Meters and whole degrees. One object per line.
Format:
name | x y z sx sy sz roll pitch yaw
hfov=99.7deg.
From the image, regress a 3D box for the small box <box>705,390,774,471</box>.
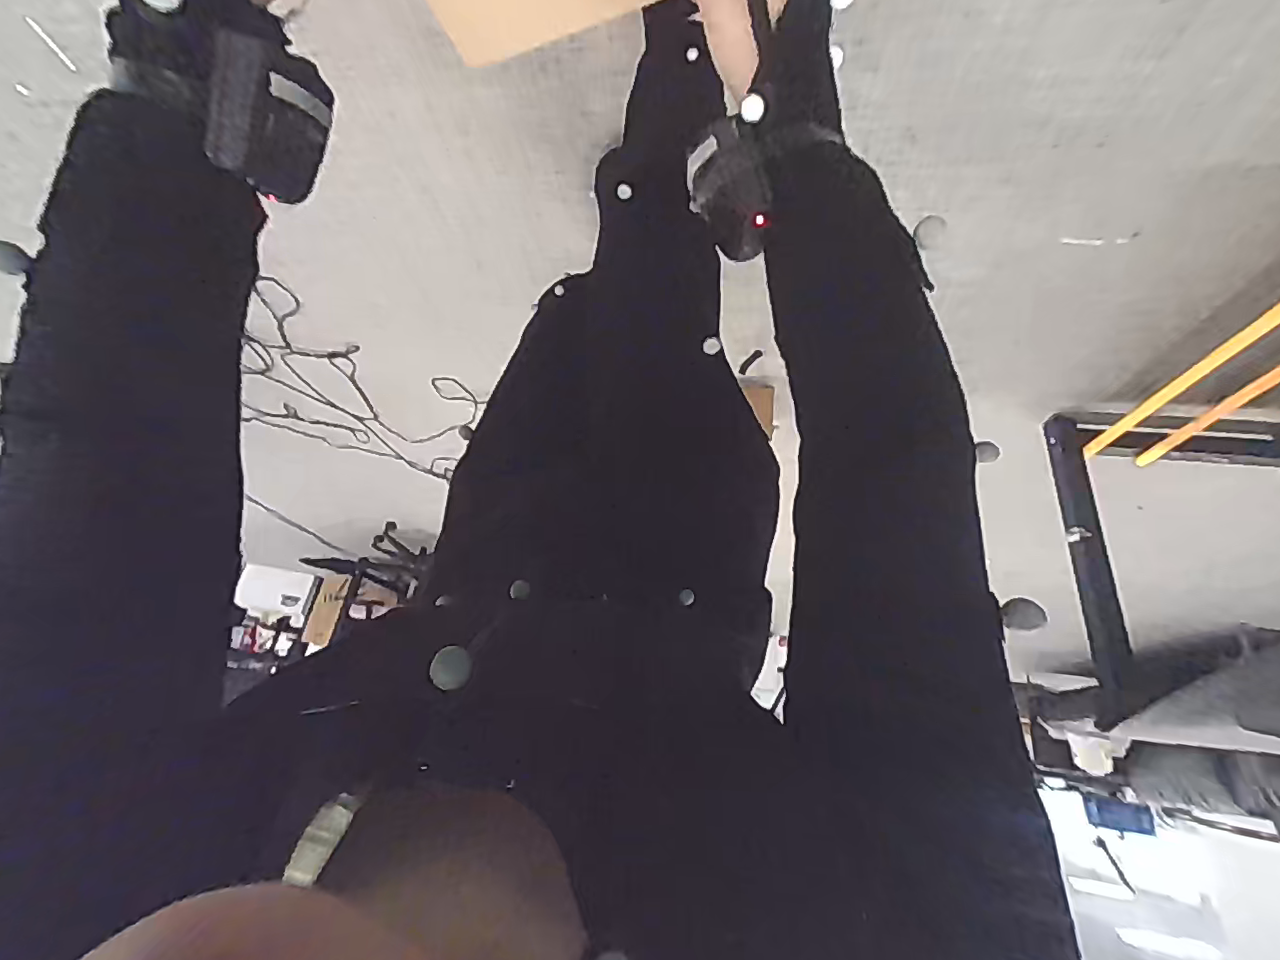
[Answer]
small box | 0.274 -0.135 1.479 0.179 0.176 0.168 1 154 13
